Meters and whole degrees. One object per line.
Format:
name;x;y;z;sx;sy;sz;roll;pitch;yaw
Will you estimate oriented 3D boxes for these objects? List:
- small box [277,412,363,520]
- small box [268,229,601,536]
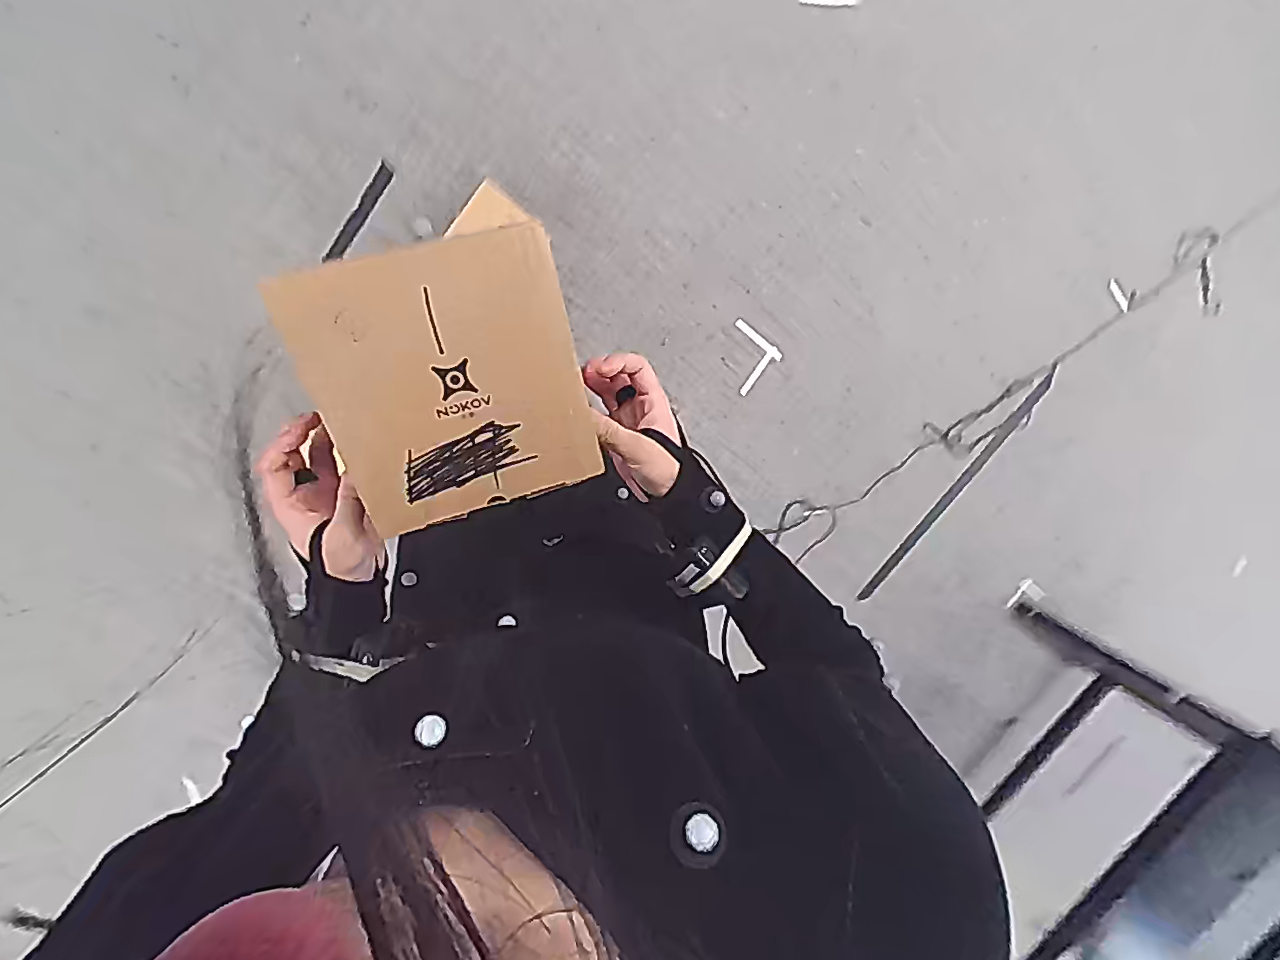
small box;-0.683;-0.038;1.230;0.168;0.176;0.179;21;101;-22
small box;-0.139;-0.088;0.418;0.168;0.176;0.179;-16;116;-12
